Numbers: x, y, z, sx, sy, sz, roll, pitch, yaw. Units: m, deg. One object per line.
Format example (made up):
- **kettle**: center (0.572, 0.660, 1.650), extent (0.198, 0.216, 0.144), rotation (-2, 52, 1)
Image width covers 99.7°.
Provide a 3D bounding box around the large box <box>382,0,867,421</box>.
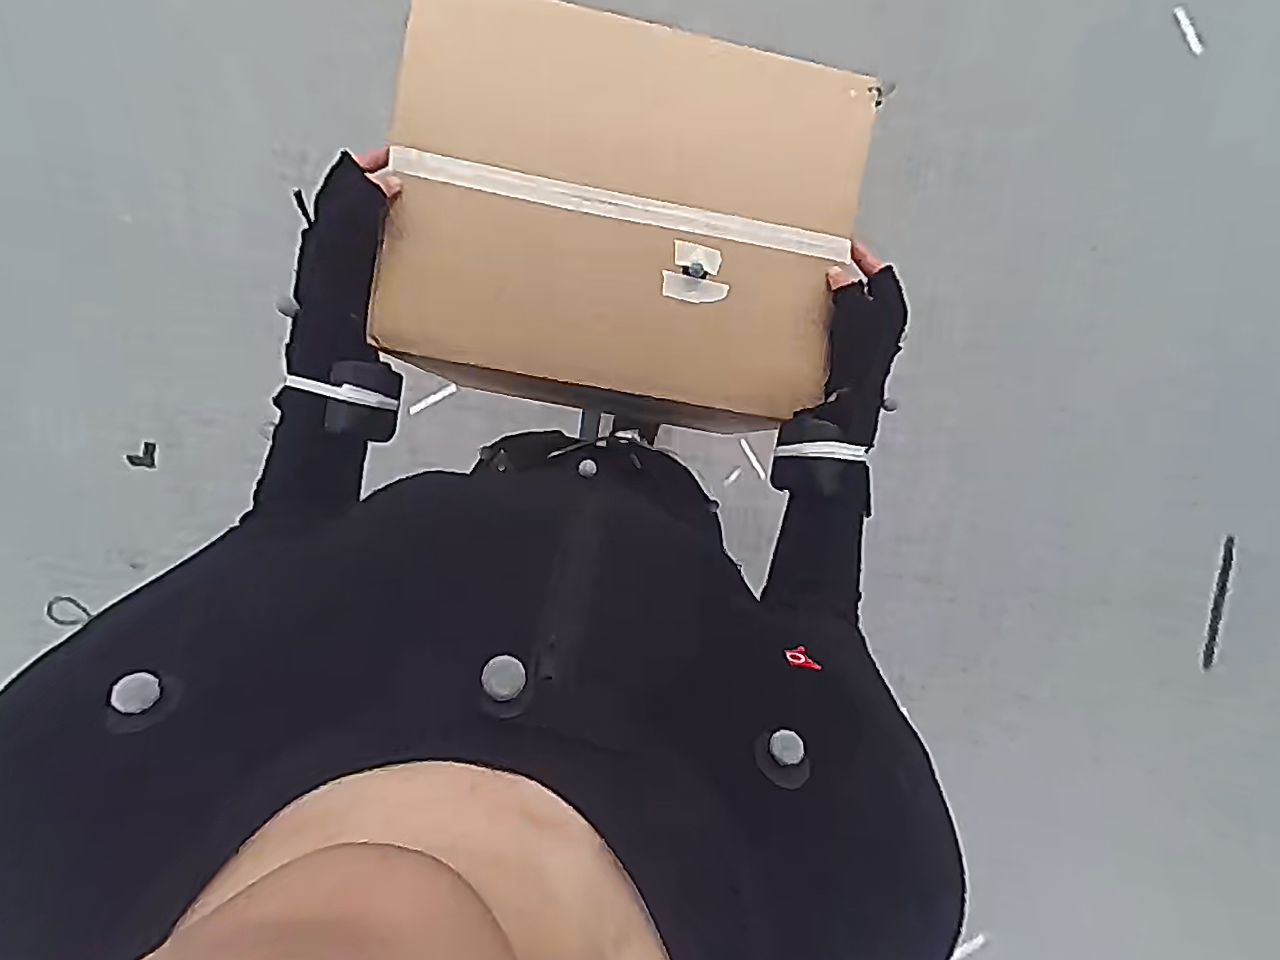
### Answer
- **large box**: center (-0.024, -0.254, 0.626), extent (0.408, 0.320, 0.320), rotation (9, 94, -6)
